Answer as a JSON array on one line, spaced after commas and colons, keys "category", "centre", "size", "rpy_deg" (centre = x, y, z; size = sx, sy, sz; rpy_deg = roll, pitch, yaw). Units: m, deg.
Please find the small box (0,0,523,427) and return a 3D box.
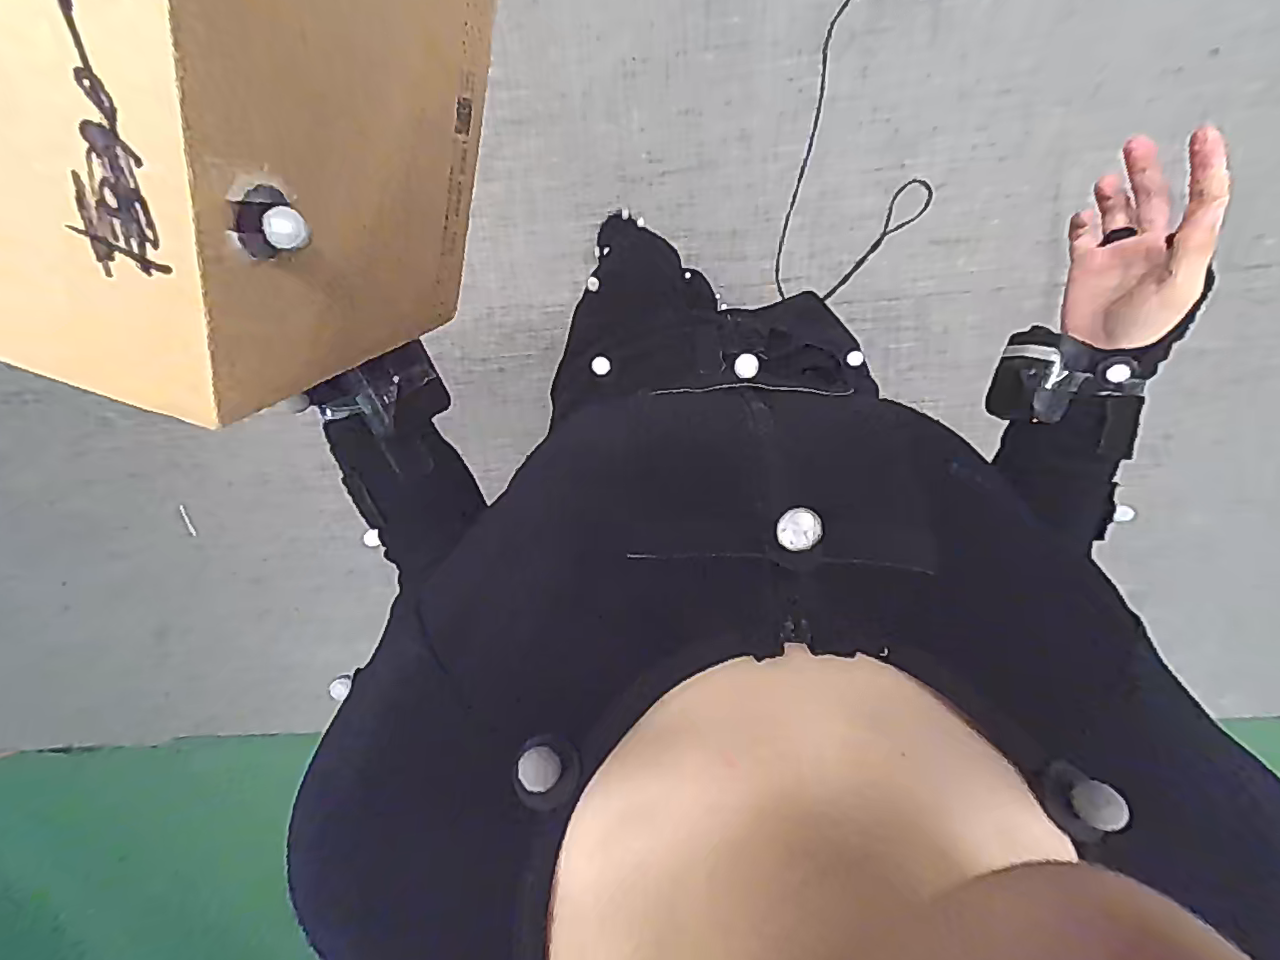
[{"category": "small box", "centre": [-0.170, -0.148, 0.218], "size": [0.179, 0.176, 0.168], "rpy_deg": [19, 120, 1]}]
